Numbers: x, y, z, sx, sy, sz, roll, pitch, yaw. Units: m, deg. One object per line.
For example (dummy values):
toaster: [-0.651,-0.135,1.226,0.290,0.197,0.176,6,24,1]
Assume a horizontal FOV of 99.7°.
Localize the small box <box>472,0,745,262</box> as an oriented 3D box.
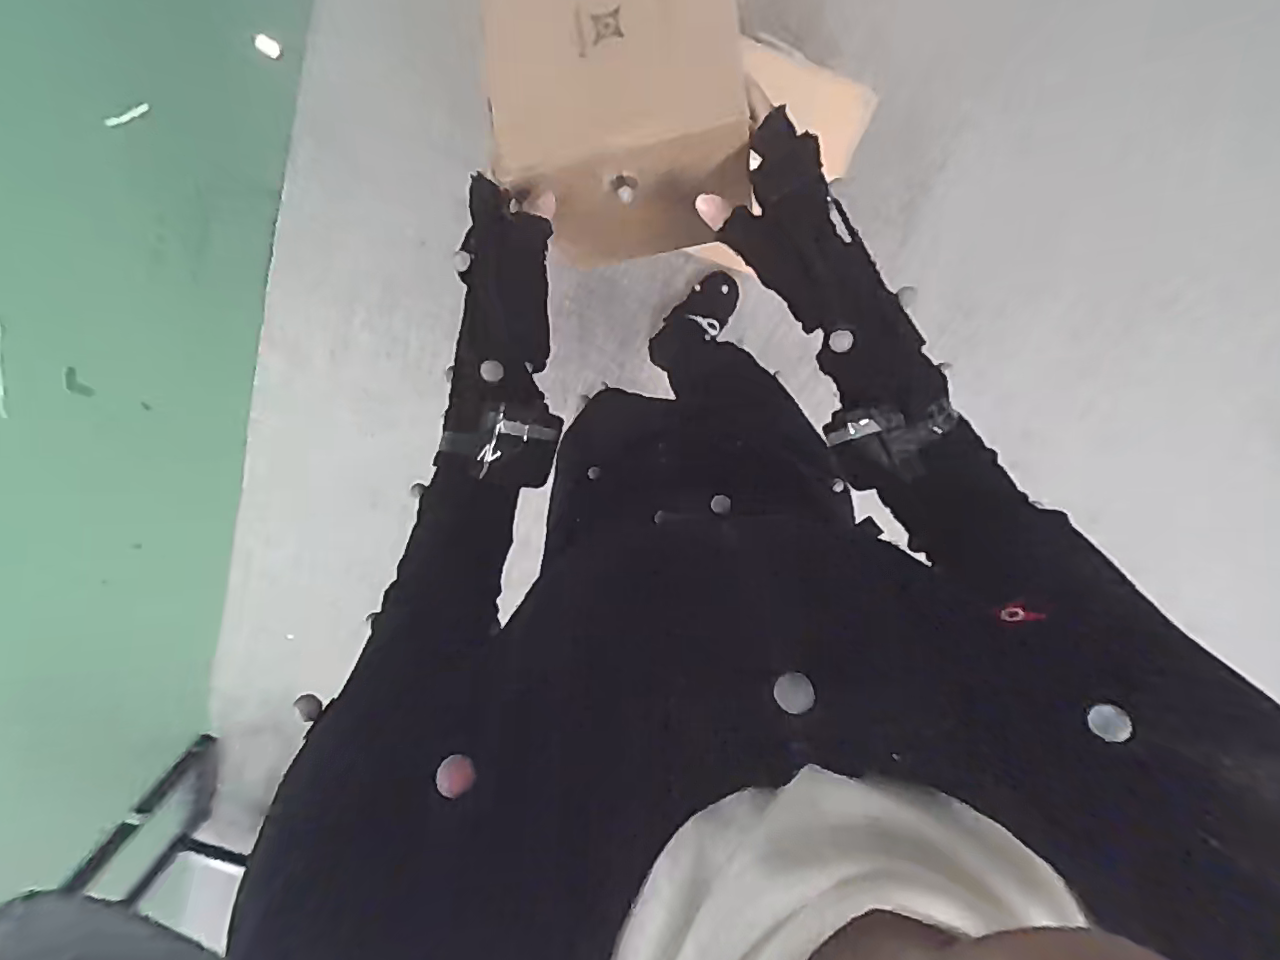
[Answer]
small box: [-0.013,-0.300,0.439,0.179,0.176,0.168,-8,88,11]
